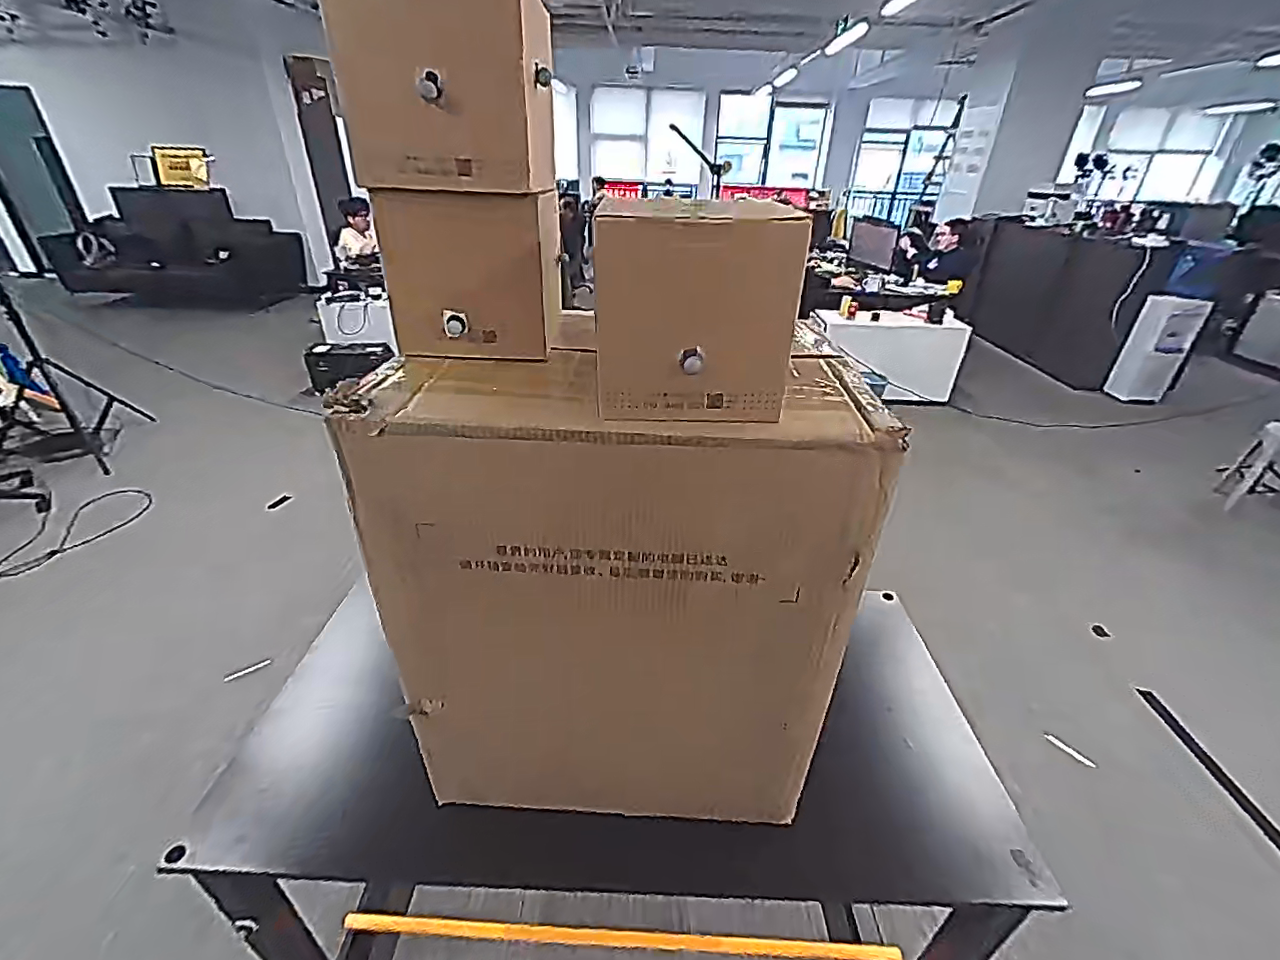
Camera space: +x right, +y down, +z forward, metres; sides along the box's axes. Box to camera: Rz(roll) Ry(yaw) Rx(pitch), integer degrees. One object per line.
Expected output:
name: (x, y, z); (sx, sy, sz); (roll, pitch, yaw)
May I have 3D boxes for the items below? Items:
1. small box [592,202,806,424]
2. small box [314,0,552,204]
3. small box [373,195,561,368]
small box: (0.045, -0.165, 0.518); (0.168, 0.176, 0.179); (0, 31, 0)
small box: (-0.182, -0.374, 0.539); (0.168, 0.176, 0.179); (1, 30, -1)
small box: (-0.184, -0.240, 0.635); (0.168, 0.176, 0.179); (0, 31, -3)
